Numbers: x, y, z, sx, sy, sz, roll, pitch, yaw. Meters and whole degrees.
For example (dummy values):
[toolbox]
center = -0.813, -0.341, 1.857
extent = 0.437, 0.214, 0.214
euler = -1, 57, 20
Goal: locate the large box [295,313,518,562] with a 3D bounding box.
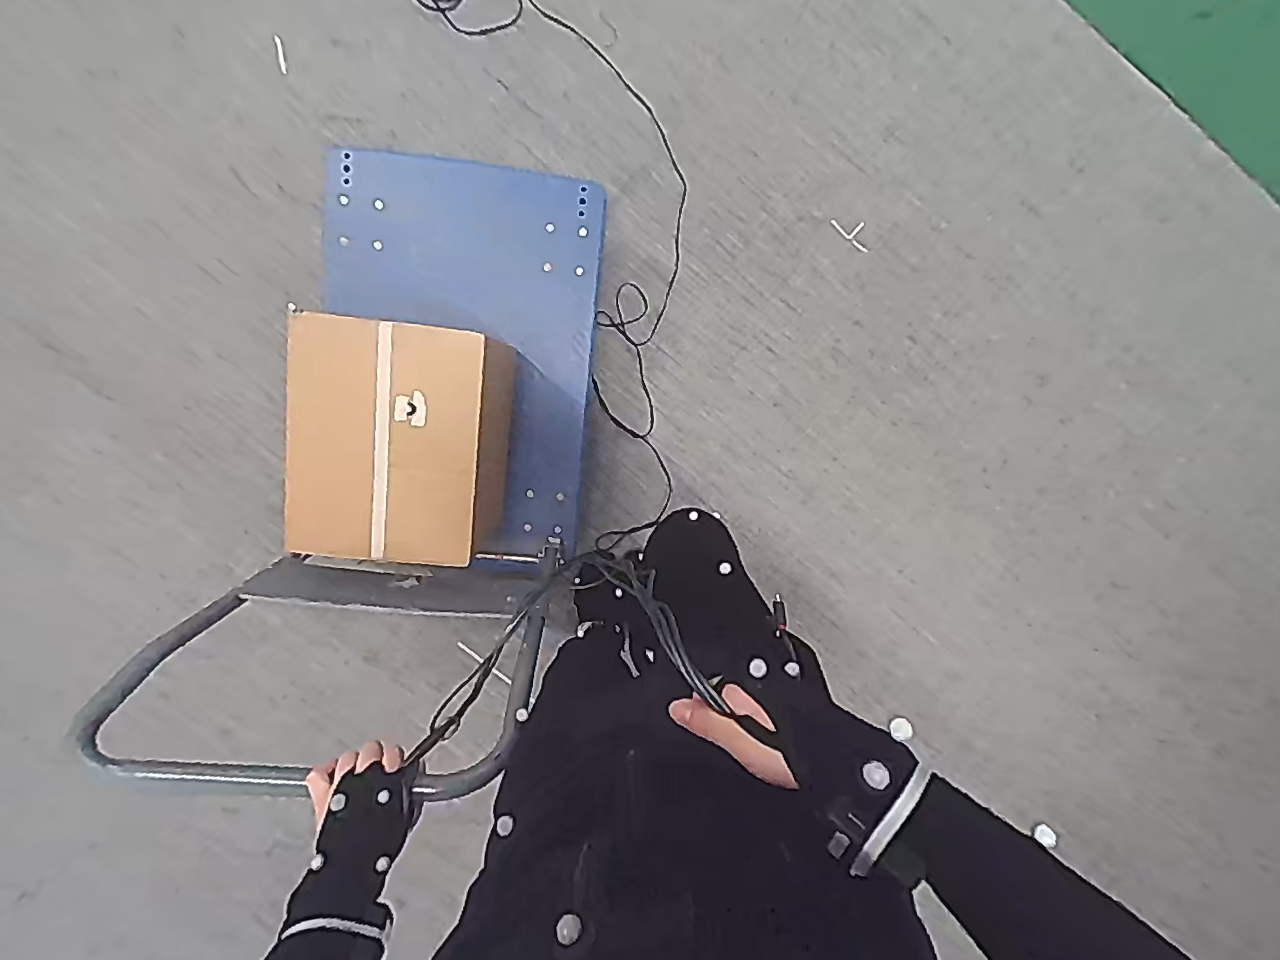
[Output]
[large box]
center = -0.428, -0.081, 1.059
extent = 0.320, 0.320, 0.408
euler = 6, 97, -5
